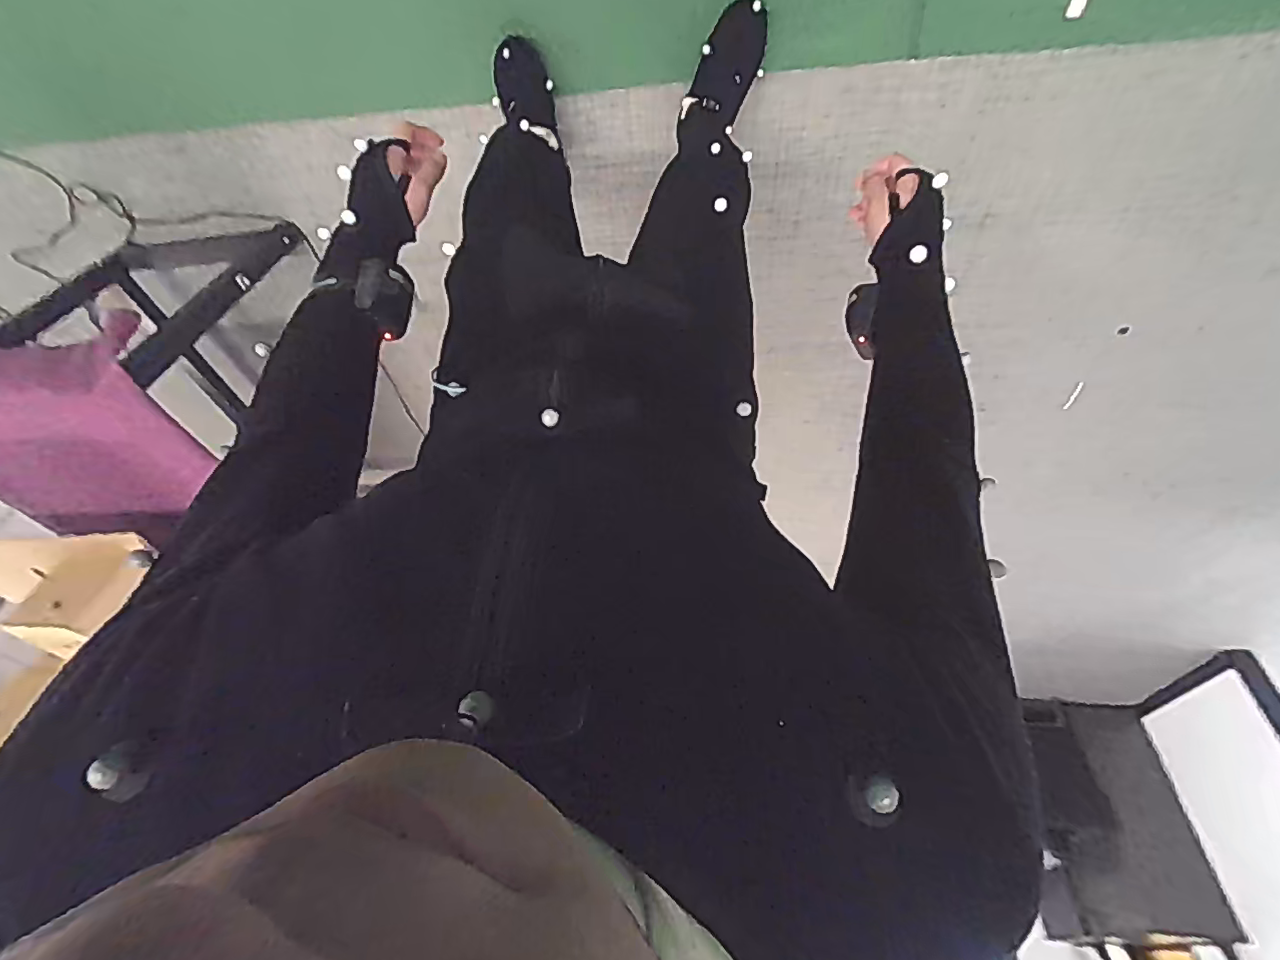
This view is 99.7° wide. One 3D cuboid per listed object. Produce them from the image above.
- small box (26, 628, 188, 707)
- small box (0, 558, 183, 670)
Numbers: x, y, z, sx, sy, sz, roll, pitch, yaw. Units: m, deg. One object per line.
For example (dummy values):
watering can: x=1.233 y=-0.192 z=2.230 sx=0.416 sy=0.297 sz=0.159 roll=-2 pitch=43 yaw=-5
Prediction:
small box: x=-1.244 y=0.418 z=1.281 sx=0.179 sy=0.176 sz=0.168 roll=-2 pitch=136 yaw=9
small box: x=-1.096 y=0.272 z=1.104 sx=0.179 sy=0.176 sz=0.168 roll=-1 pitch=137 yaw=10
